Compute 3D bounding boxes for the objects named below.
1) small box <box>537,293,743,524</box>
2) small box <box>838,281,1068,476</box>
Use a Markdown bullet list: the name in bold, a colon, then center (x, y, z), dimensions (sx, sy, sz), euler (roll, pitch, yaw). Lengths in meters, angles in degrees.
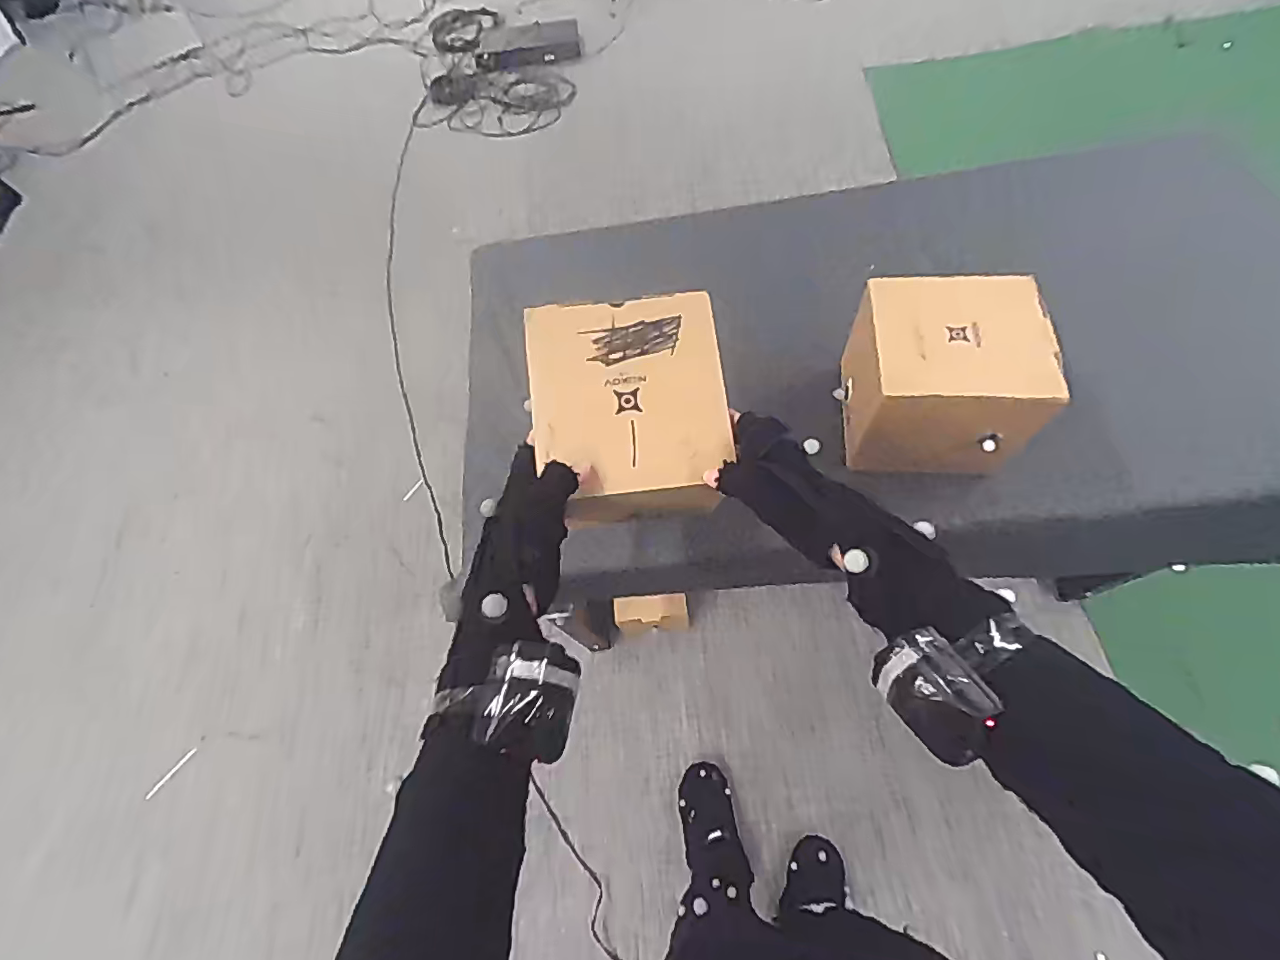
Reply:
- **small box**: center (-0.005, -0.060, 0.543), dimensions (0.168, 0.176, 0.179), euler (-6, 78, -2)
- **small box**: center (0.351, -0.114, 0.647), dimensions (0.179, 0.176, 0.168), euler (1, 63, 8)
